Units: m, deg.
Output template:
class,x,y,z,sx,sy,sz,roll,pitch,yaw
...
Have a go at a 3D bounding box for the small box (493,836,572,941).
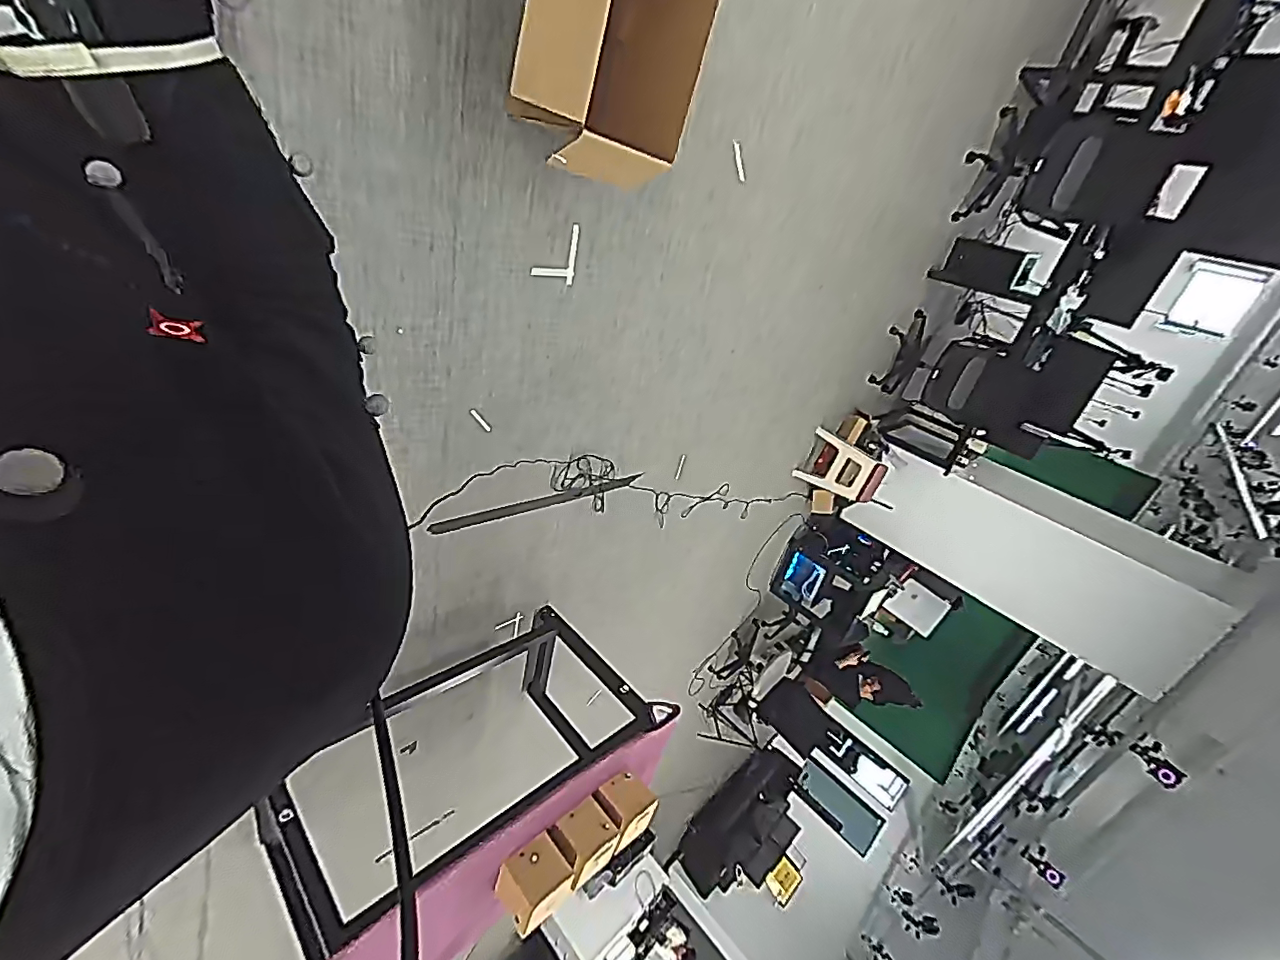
class,x,y,z,sx,sy,sz,roll,pitch,yaw
small box,-0.346,1.287,1.718,0.168,0.176,0.179,-13,128,-47
